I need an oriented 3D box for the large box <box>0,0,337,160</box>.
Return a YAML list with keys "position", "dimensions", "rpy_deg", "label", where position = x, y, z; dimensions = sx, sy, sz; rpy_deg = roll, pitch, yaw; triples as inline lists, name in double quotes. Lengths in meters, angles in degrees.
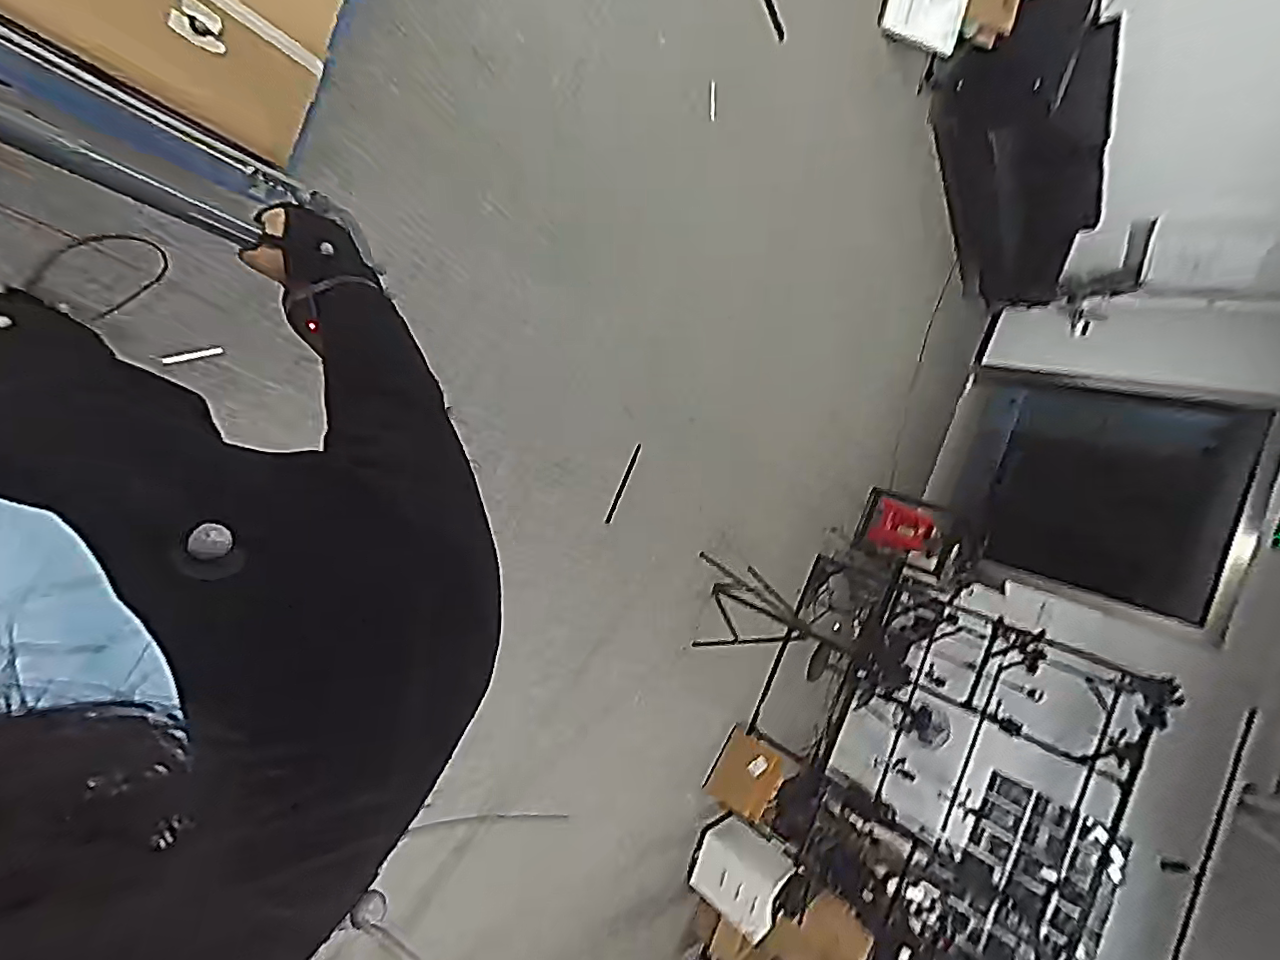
- position: [-0.712, -0.723, 0.748]
  dimensions: [0.408, 0.320, 0.320]
  rpy_deg: [16, 105, -53]
  label: "large box"
